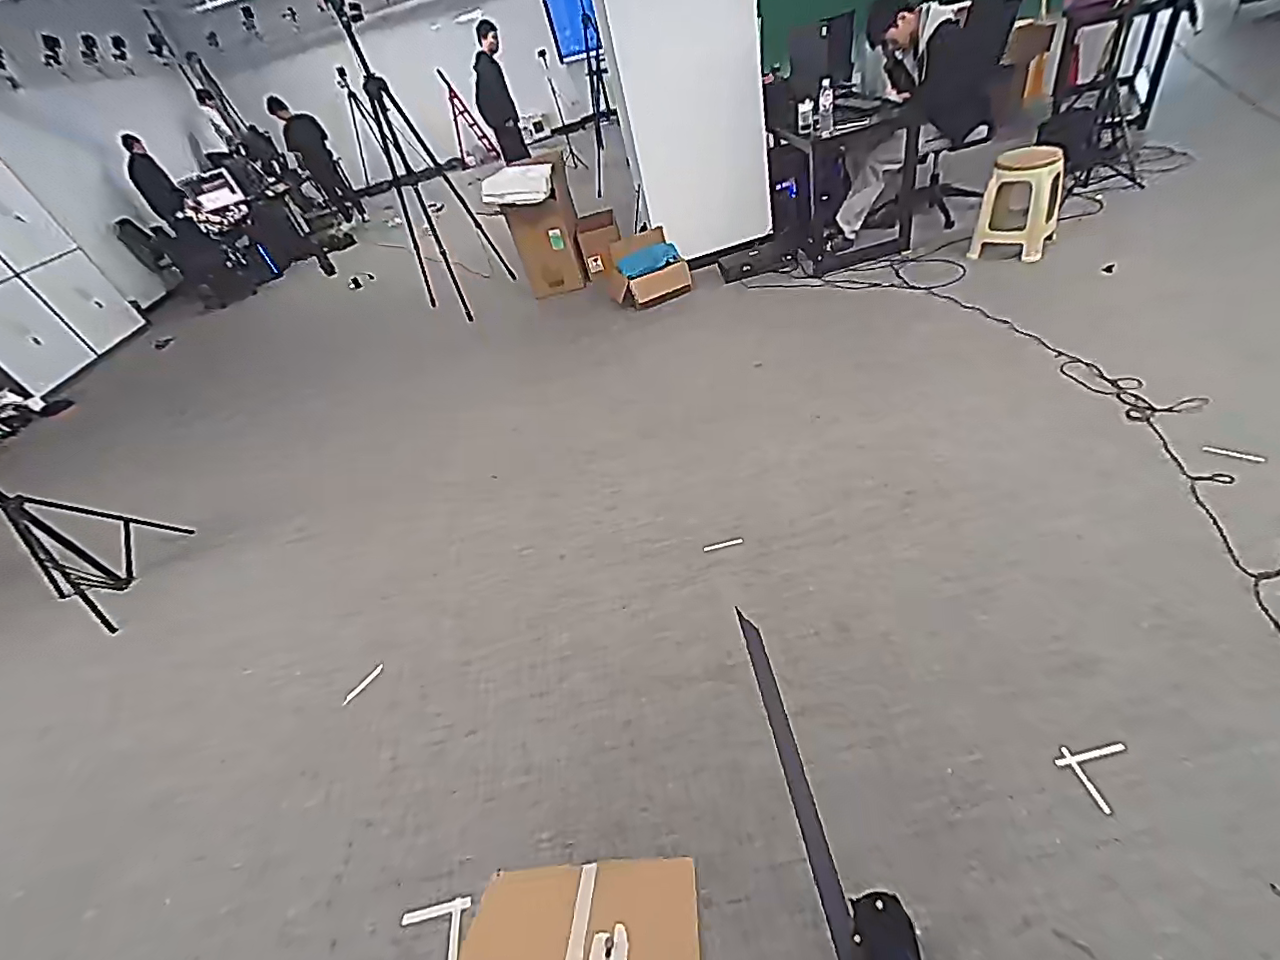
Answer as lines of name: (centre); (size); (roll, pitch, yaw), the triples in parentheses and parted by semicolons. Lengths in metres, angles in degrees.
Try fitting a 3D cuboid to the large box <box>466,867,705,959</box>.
large box: (-0.063, 0.770, 0.641); (0.320, 0.320, 0.408); (-7, 6, 5)
